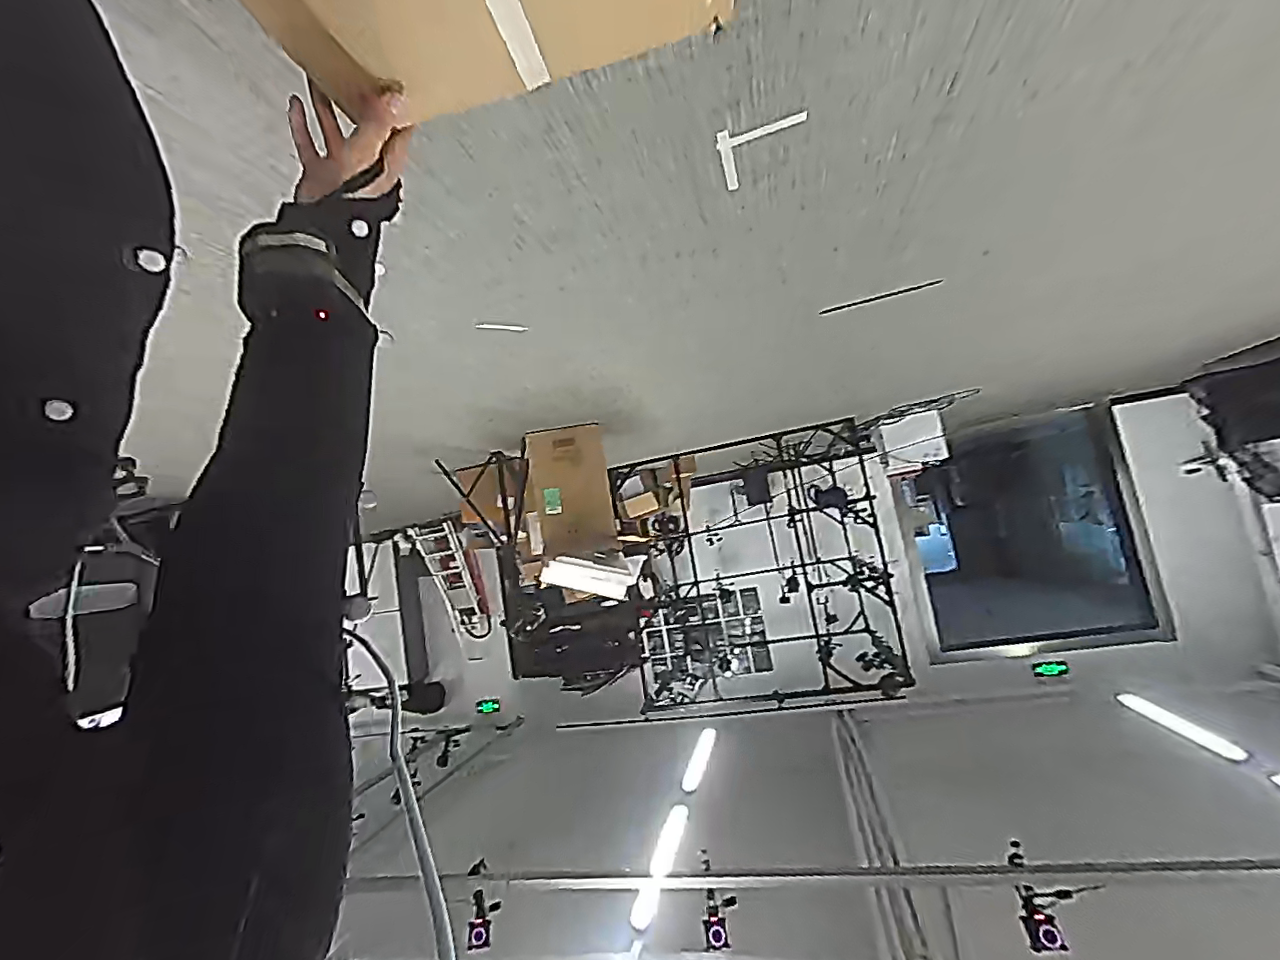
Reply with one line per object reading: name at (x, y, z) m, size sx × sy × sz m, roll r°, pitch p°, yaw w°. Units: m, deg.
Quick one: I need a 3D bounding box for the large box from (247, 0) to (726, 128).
large box at (-0.143, -0.485, 0.254) m, size 0.320 × 0.320 × 0.408 m, roll -11°, pitch 175°, yaw 8°
